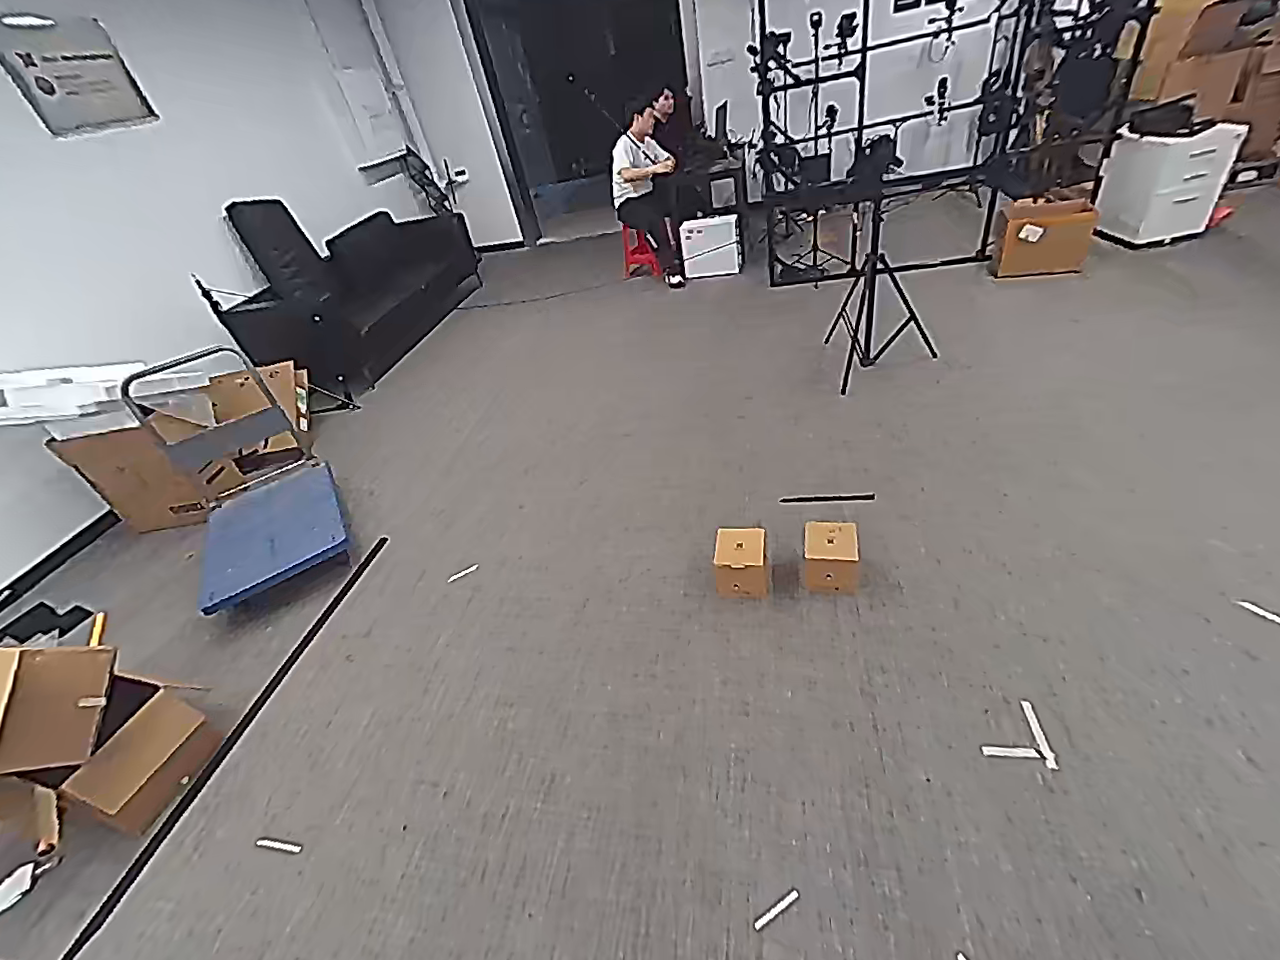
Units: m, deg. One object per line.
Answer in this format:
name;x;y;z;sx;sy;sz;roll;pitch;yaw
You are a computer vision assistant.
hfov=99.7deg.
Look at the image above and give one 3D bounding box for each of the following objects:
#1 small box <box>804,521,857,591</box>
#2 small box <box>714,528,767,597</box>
small box;0.650;0.260;1.849;0.168;0.176;0.179;1;39;18
small box;0.359;0.289;1.908;0.168;0.176;0.179;-2;39;16
